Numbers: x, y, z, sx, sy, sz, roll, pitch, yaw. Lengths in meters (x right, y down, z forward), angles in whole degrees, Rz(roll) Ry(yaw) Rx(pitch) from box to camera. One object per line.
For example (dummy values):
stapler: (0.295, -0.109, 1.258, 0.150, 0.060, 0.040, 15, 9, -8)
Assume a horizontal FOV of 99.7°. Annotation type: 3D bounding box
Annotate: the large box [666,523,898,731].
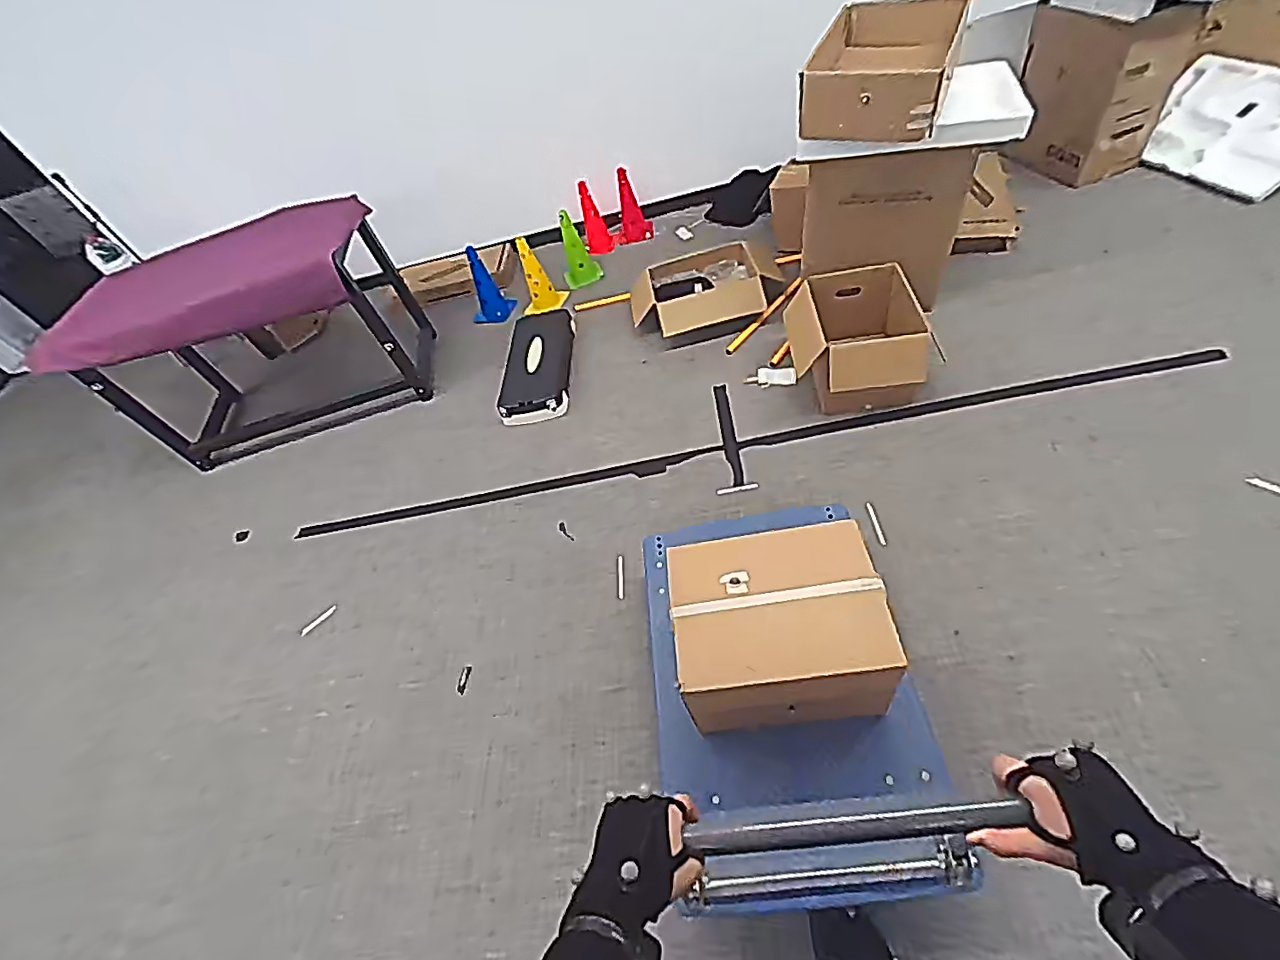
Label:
large box: (0.295, 0.336, 1.195, 0.408, 0.320, 0.320, -11, 50, 8)
